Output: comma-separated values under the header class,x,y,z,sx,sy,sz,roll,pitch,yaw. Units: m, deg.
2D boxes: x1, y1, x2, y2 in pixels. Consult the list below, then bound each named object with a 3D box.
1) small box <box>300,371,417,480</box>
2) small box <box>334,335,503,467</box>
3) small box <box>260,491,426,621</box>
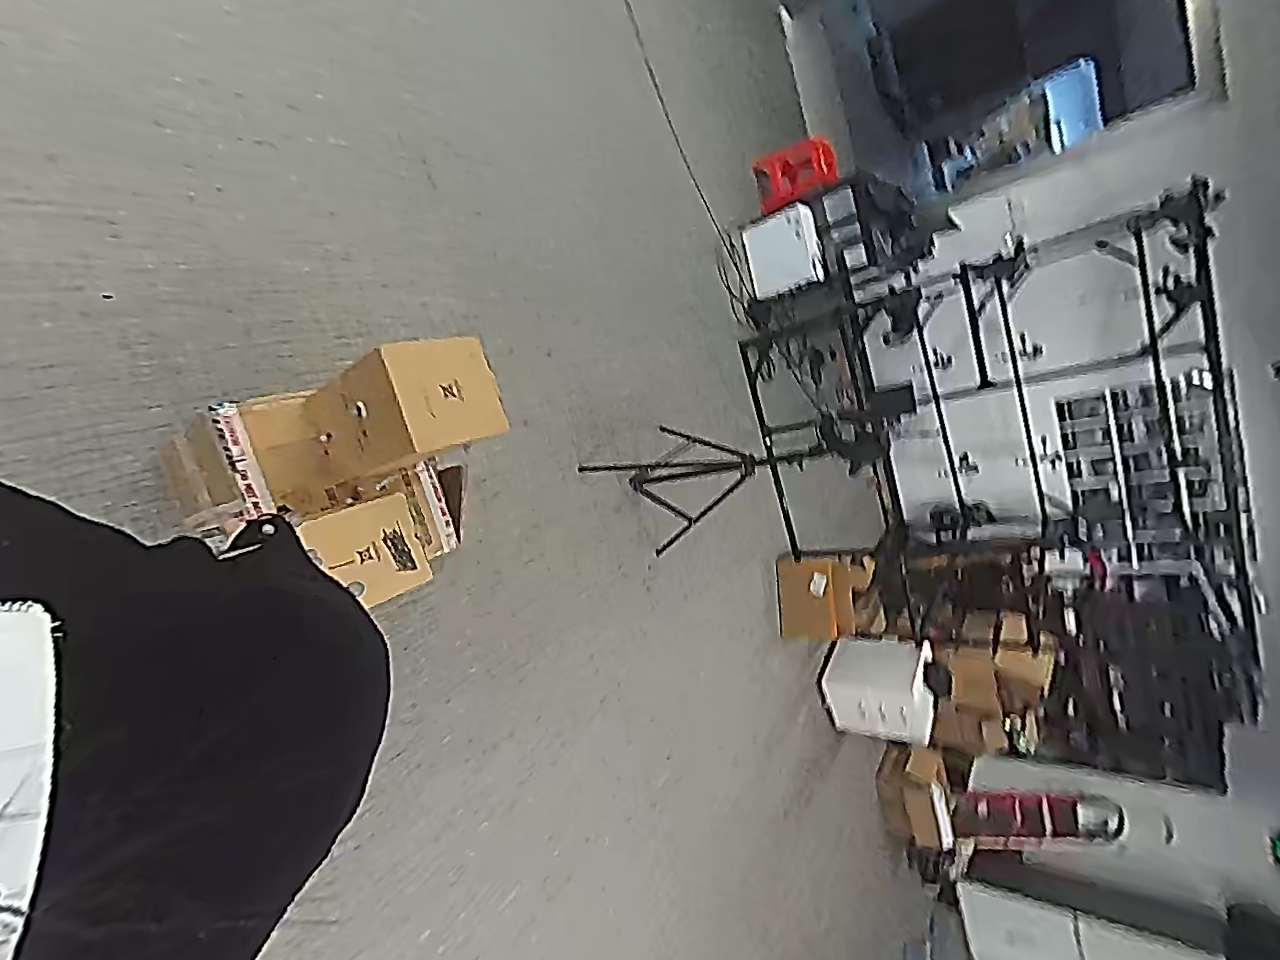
class,x,y,z,sx,sy,sz,roll,pitch,yaw
small box,-0.484,-0.108,0.997,0.179,0.176,0.168,-24,100,-48
small box,-0.363,-0.129,0.891,0.179,0.176,0.168,-24,99,-48
small box,-0.507,0.124,0.926,0.179,0.176,0.168,-24,102,-48
